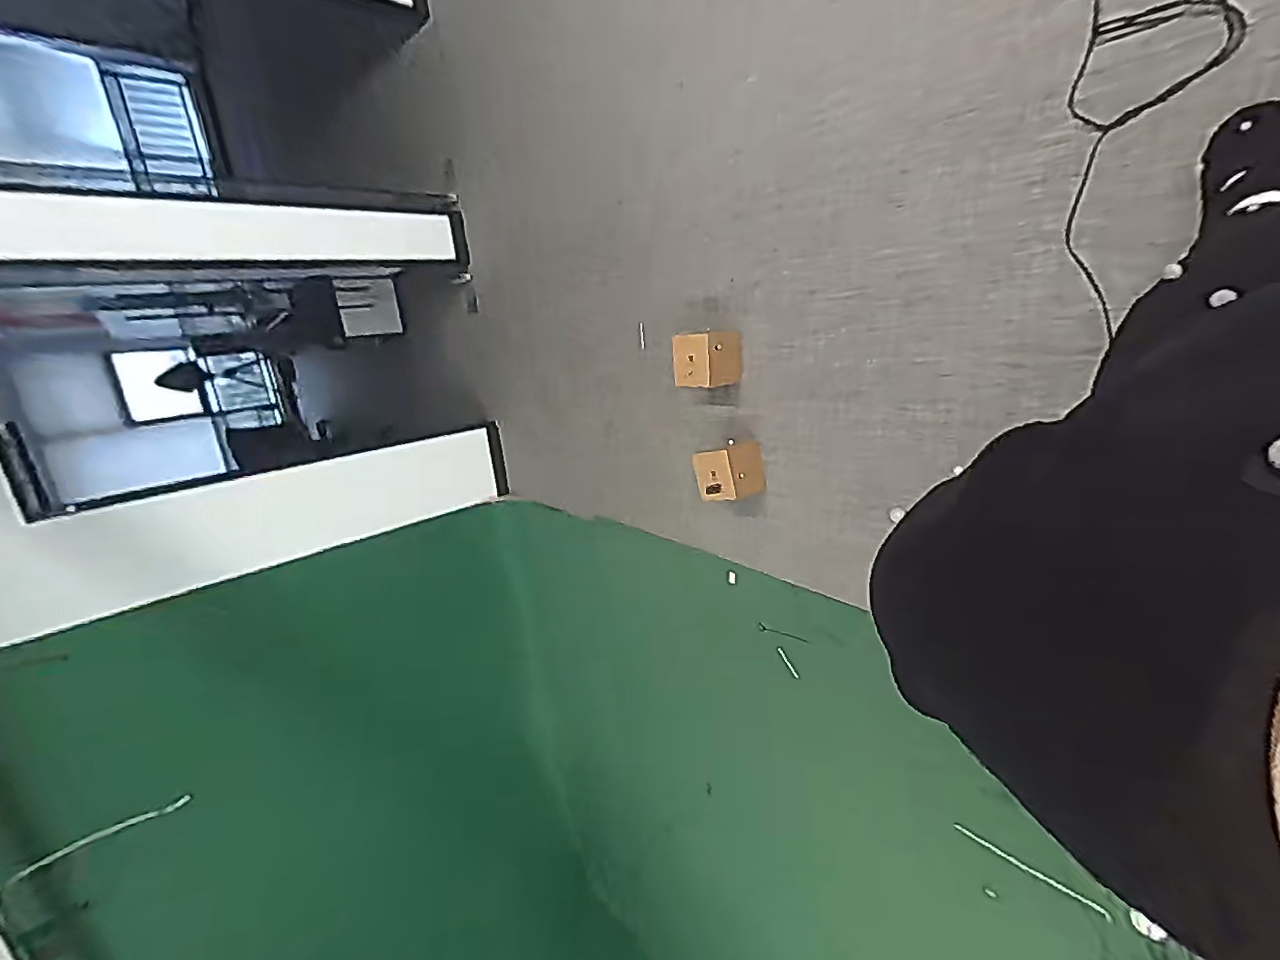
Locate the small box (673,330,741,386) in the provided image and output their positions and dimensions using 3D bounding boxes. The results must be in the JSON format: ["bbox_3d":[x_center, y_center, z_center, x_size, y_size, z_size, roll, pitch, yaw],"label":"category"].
[{"bbox_3d":[0.233,-0.423,1.859,0.168,0.176,0.179,15,115,47],"label":"small box"}]

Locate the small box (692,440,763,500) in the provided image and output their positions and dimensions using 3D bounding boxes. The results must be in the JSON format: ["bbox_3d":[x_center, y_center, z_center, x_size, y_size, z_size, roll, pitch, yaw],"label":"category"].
[{"bbox_3d":[0.314,-0.036,1.912,0.168,0.176,0.179,-3,101,50],"label":"small box"}]
